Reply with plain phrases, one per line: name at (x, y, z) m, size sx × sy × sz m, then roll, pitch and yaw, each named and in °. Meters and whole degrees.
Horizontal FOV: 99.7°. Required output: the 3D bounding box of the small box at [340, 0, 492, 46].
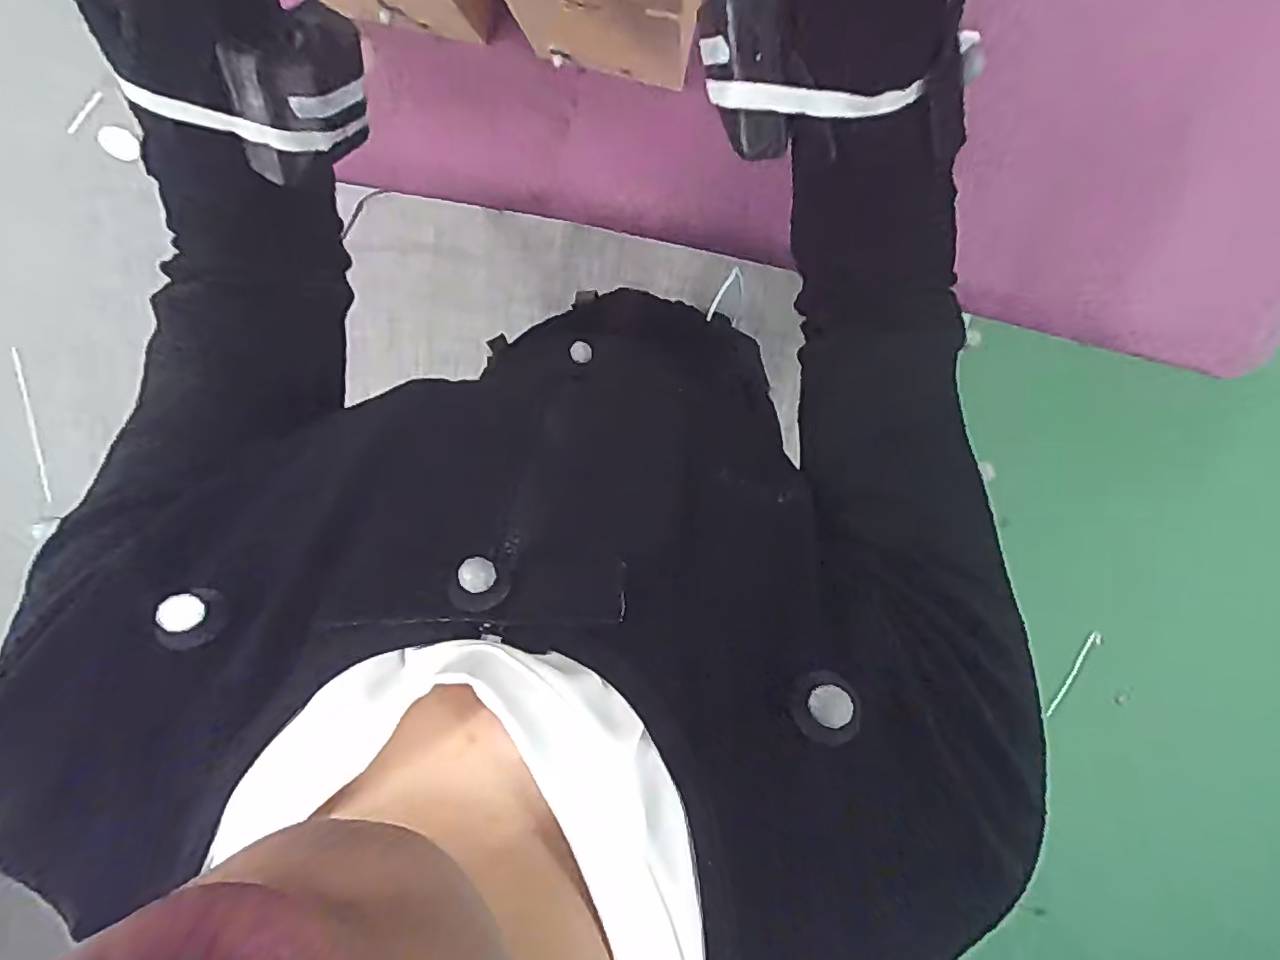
small box at (-0.234, -0.549, 0.493) m, size 0.168 × 0.176 × 0.179 m, roll 13°, pitch 109°, yaw 0°

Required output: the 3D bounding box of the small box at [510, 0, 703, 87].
small box at (-0.019, -0.500, 0.494) m, size 0.168 × 0.176 × 0.179 m, roll 14°, pitch 108°, yaw -1°
